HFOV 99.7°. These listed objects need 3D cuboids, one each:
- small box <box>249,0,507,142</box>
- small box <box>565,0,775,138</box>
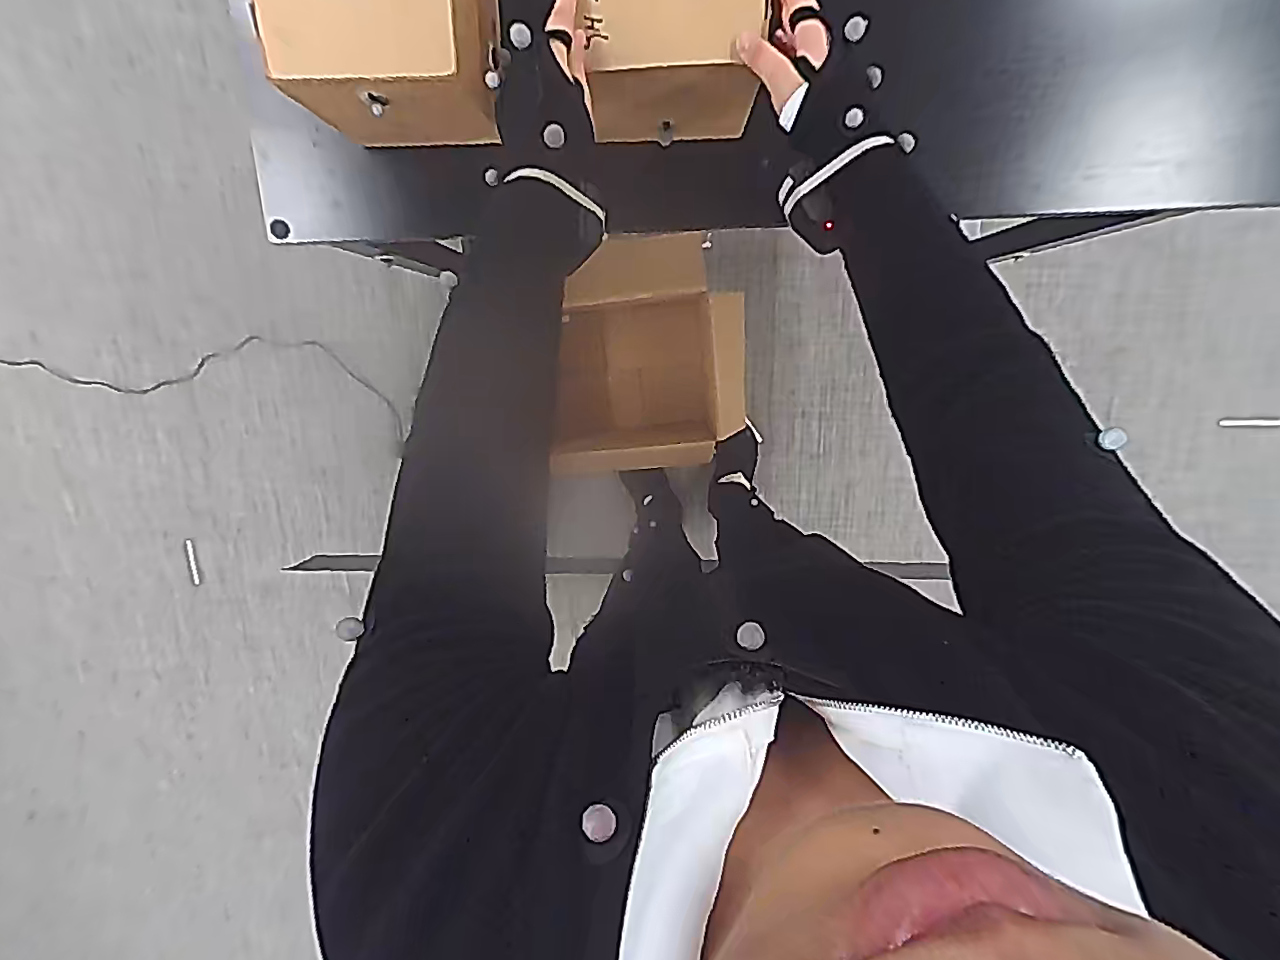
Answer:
[{"bbox_3d":[-0.241,-0.447,0.523,0.179,0.176,0.168,-1,105,1],"label":"small box"},{"bbox_3d":[0.025,-0.447,0.514,0.179,0.176,0.168,-1,103,2],"label":"small box"}]
